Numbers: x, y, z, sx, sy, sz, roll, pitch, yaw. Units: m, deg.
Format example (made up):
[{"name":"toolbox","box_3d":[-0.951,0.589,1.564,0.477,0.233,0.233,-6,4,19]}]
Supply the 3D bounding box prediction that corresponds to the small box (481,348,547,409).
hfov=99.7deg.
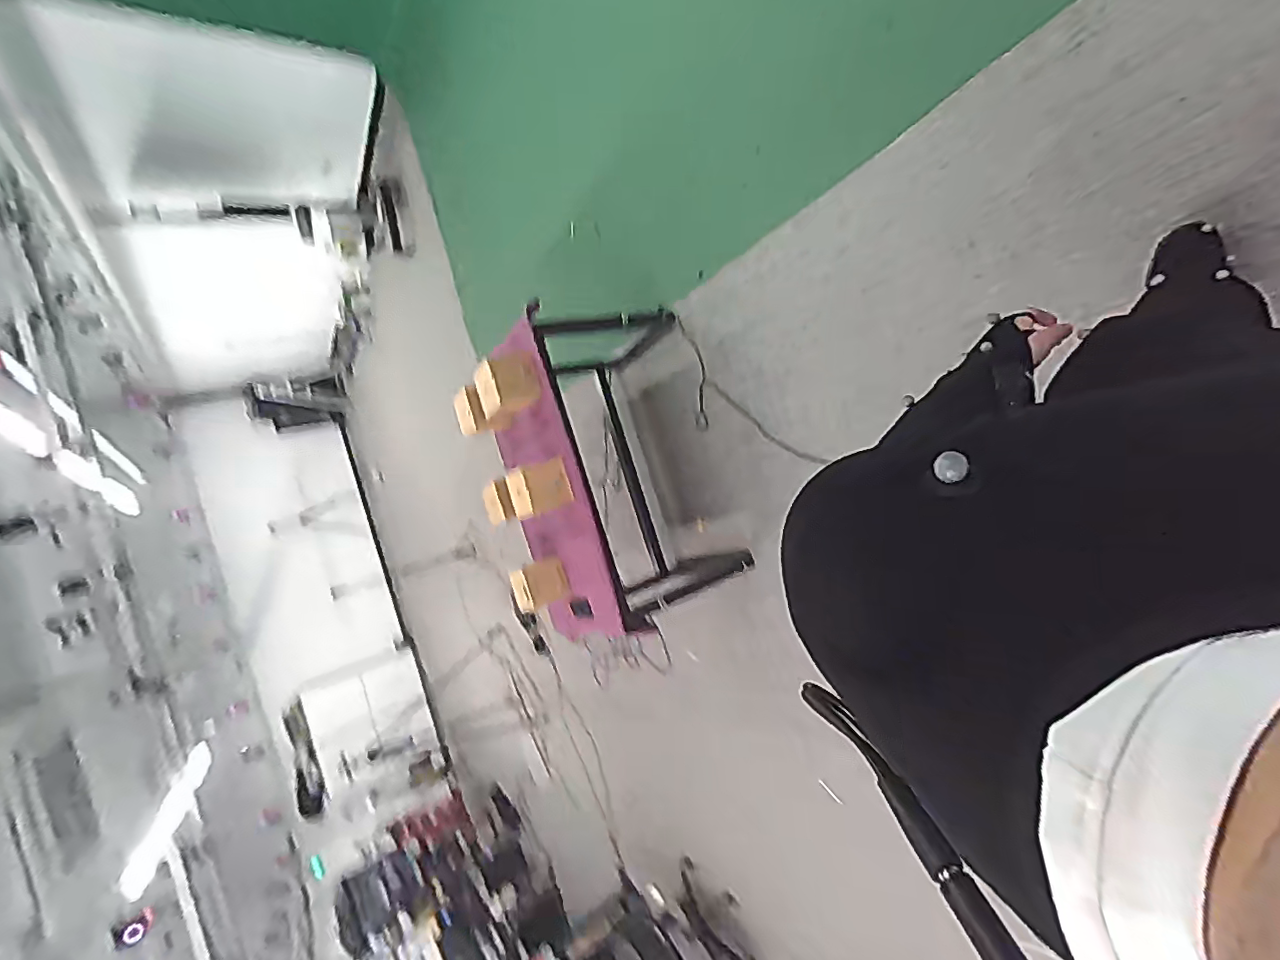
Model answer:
[{"name":"small box","box_3d":[-0.466,-0.377,2.007,0.179,0.176,0.168,-21,88,56]}]

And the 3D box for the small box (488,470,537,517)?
[{"name":"small box","box_3d":[-0.510,0.048,2.259,0.179,0.176,0.168,-20,88,55]}]

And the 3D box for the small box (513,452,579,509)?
[{"name":"small box","box_3d":[-0.346,0.002,2.004,0.179,0.176,0.168,-16,90,57]}]

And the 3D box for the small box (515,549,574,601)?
[{"name":"small box","box_3d":[-0.388,0.391,2.226,0.179,0.176,0.168,-20,86,57]}]

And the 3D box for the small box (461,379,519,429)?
[{"name":"small box","box_3d":[-0.627,-0.323,2.266,0.179,0.176,0.168,-17,91,56]}]
